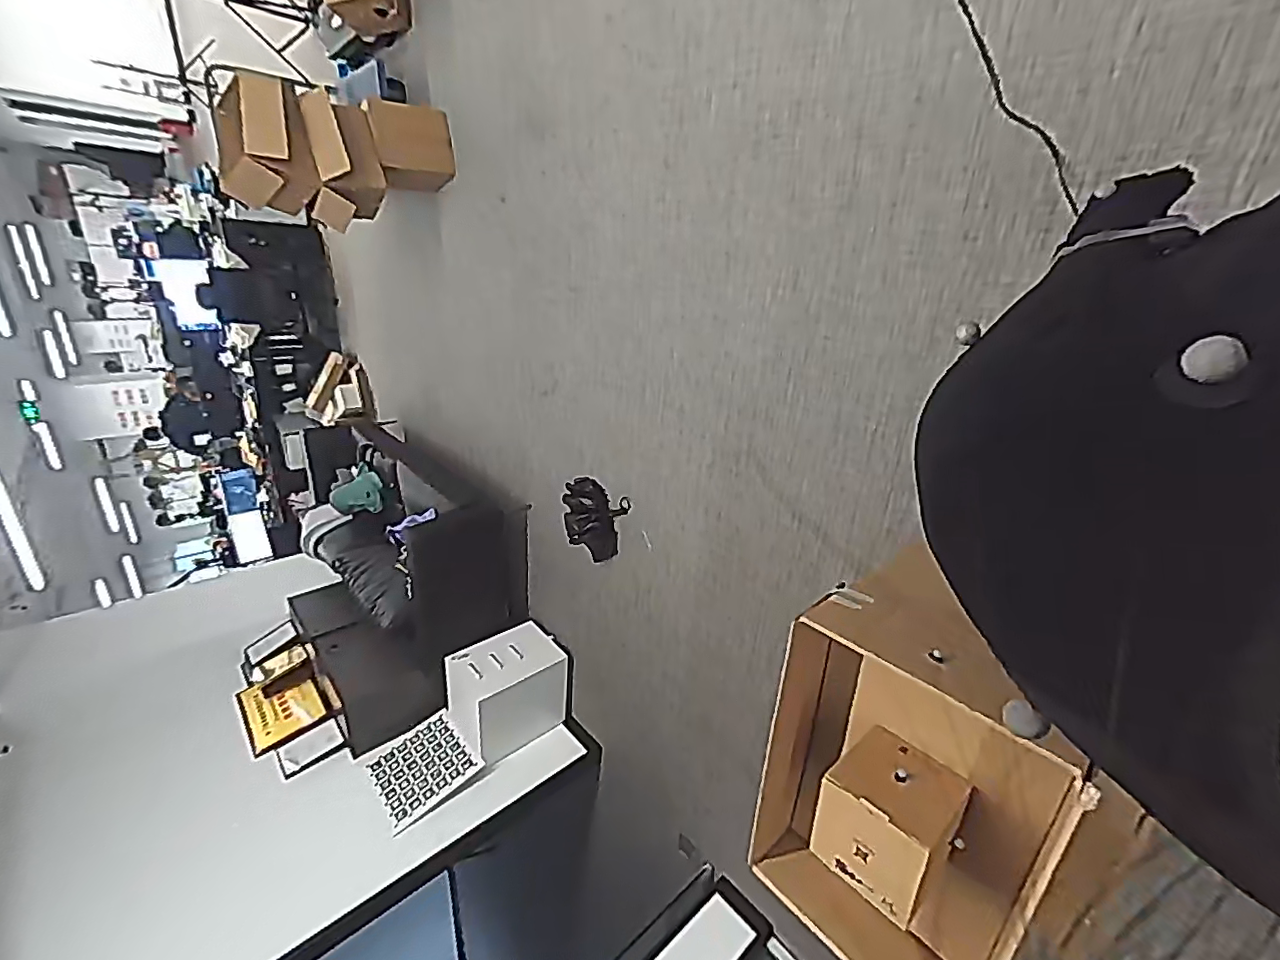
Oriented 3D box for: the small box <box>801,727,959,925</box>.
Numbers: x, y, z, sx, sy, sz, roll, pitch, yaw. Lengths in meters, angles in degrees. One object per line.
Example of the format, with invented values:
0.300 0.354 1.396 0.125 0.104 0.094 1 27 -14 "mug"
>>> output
0.391 0.546 0.881 0.168 0.176 0.179 24 119 44 "small box"
